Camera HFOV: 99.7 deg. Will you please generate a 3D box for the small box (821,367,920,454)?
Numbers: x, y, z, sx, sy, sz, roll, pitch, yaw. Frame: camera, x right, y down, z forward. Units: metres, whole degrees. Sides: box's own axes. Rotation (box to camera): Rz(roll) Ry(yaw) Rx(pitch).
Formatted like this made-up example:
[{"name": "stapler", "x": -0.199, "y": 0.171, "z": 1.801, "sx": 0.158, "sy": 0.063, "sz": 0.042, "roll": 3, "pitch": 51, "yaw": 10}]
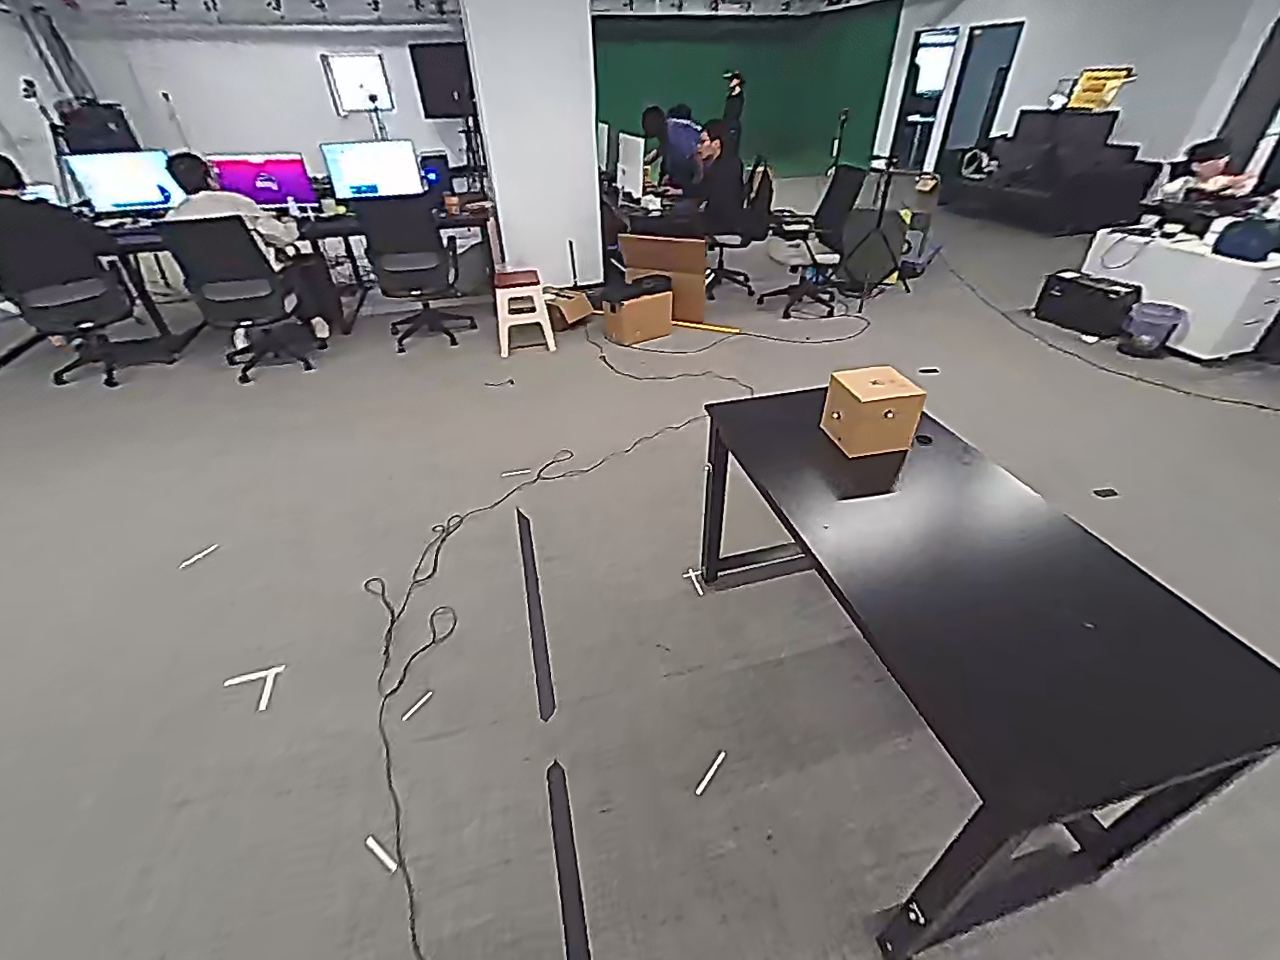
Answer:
[{"name": "small box", "x": 0.599, "y": -0.182, "z": 1.435, "sx": 0.179, "sy": 0.176, "sz": 0.168, "roll": -9, "pitch": 37, "yaw": -9}]
